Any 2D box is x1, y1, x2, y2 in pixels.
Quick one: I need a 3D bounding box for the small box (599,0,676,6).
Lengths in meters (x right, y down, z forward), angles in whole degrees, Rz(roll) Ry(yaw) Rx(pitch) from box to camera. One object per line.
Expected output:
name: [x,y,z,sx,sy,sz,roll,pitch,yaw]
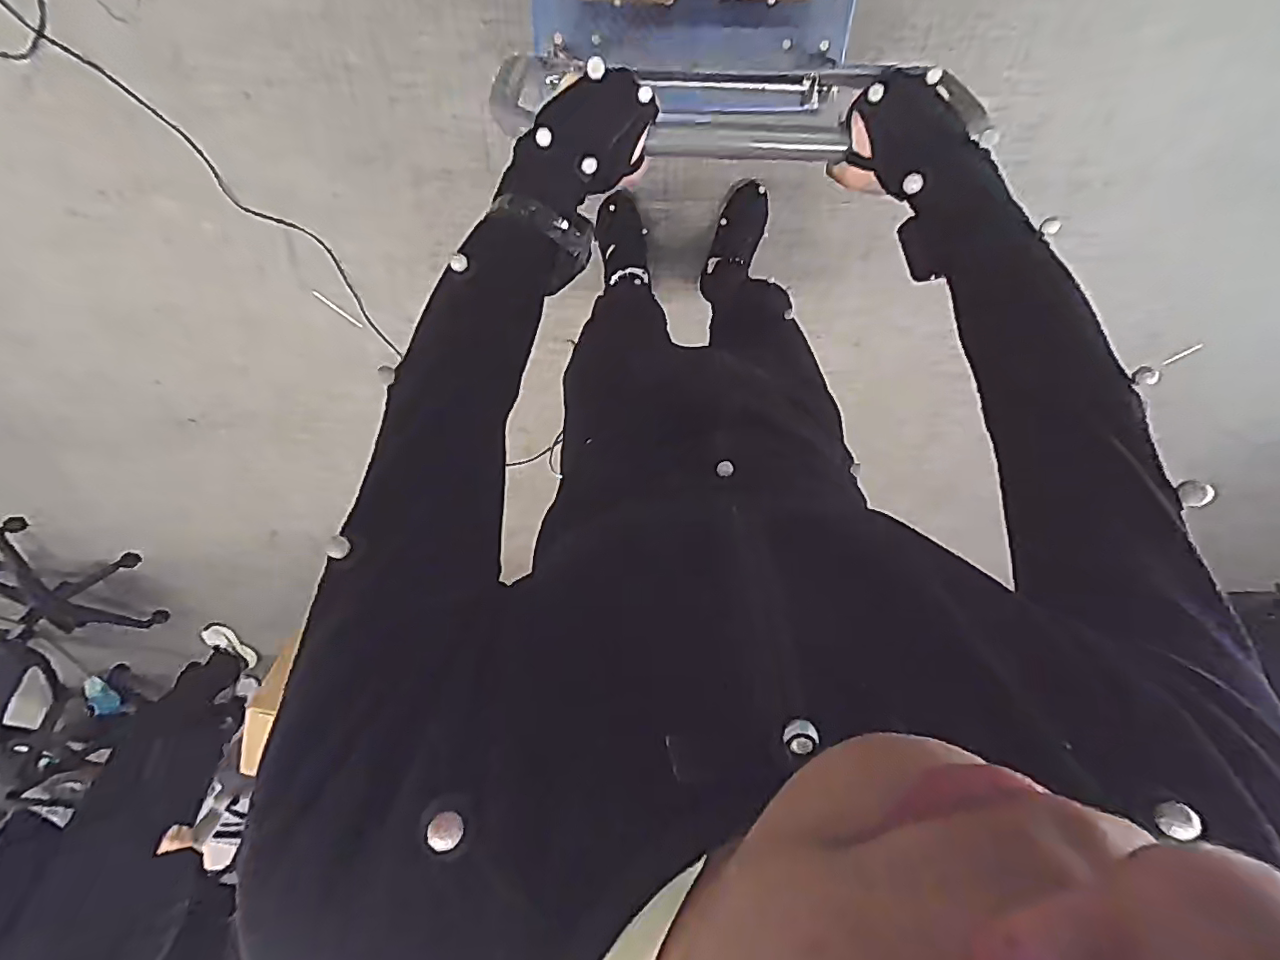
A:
small box: [-0.017,-0.861,0.836,0.168,0.176,0.179,2,129,-2]
